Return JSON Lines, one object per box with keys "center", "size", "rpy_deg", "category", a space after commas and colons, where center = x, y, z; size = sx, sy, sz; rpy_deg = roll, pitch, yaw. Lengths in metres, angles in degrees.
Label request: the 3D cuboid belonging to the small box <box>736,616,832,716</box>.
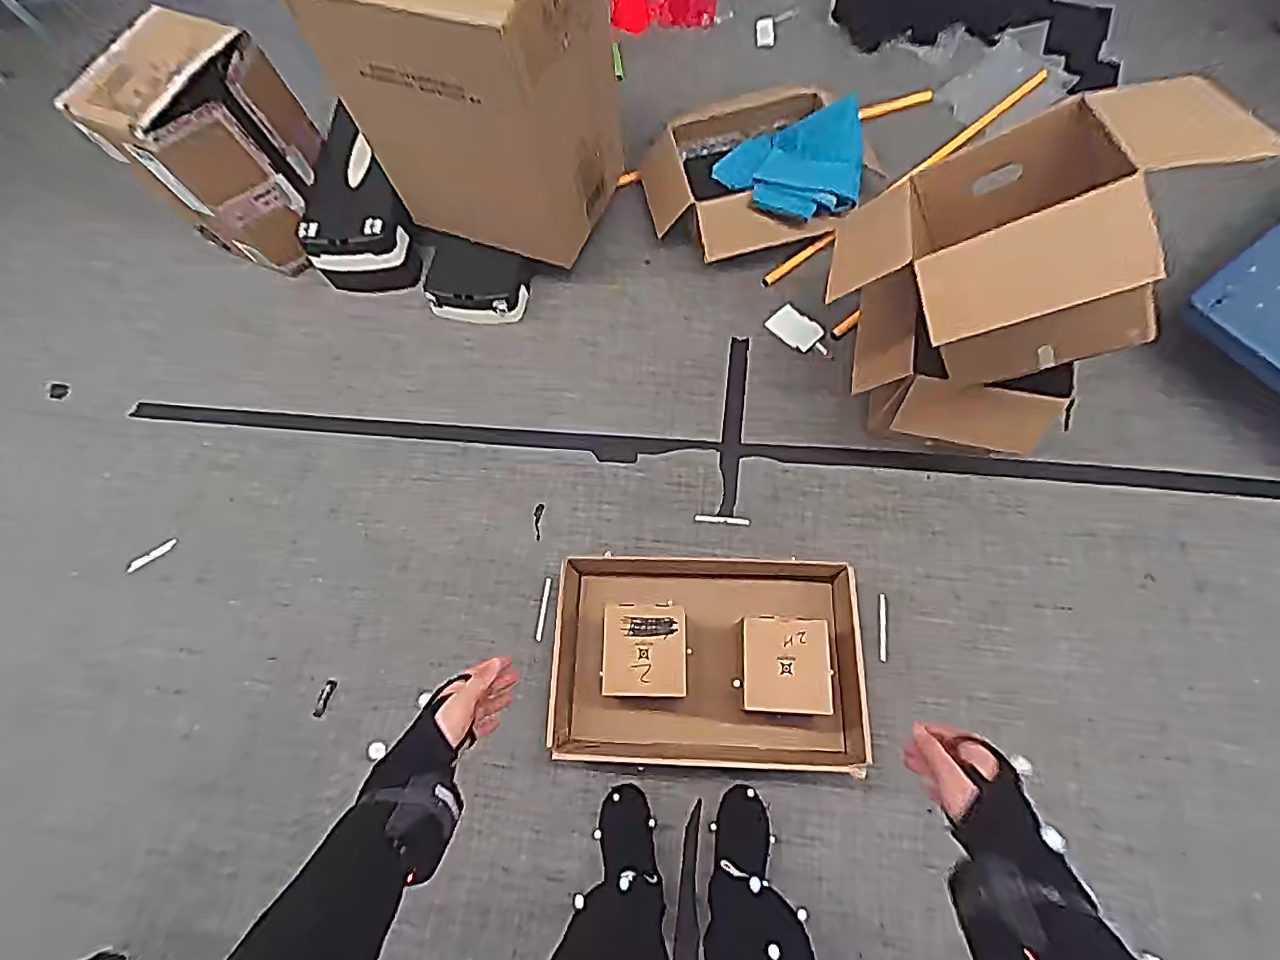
{"center": [0.291, 0.381, 1.116], "size": [0.168, 0.176, 0.179], "rpy_deg": [2, 70, 5], "category": "small box"}
